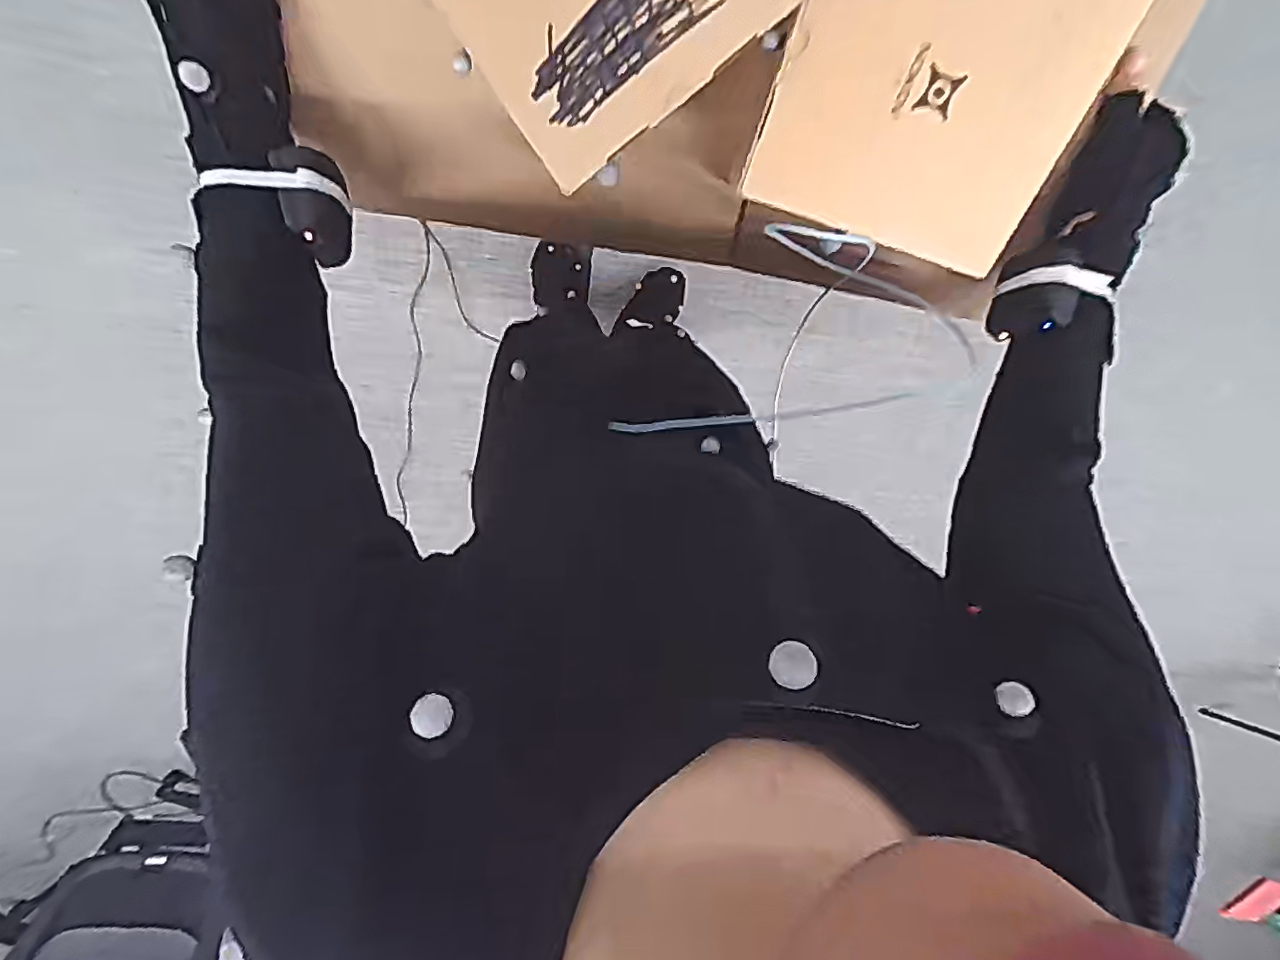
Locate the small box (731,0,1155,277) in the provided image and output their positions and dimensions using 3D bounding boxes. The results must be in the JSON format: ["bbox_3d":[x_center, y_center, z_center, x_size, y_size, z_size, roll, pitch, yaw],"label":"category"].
[{"bbox_3d":[0.175,-0.266,0.377,0.179,0.176,0.168,19,122,-2],"label":"small box"}]
